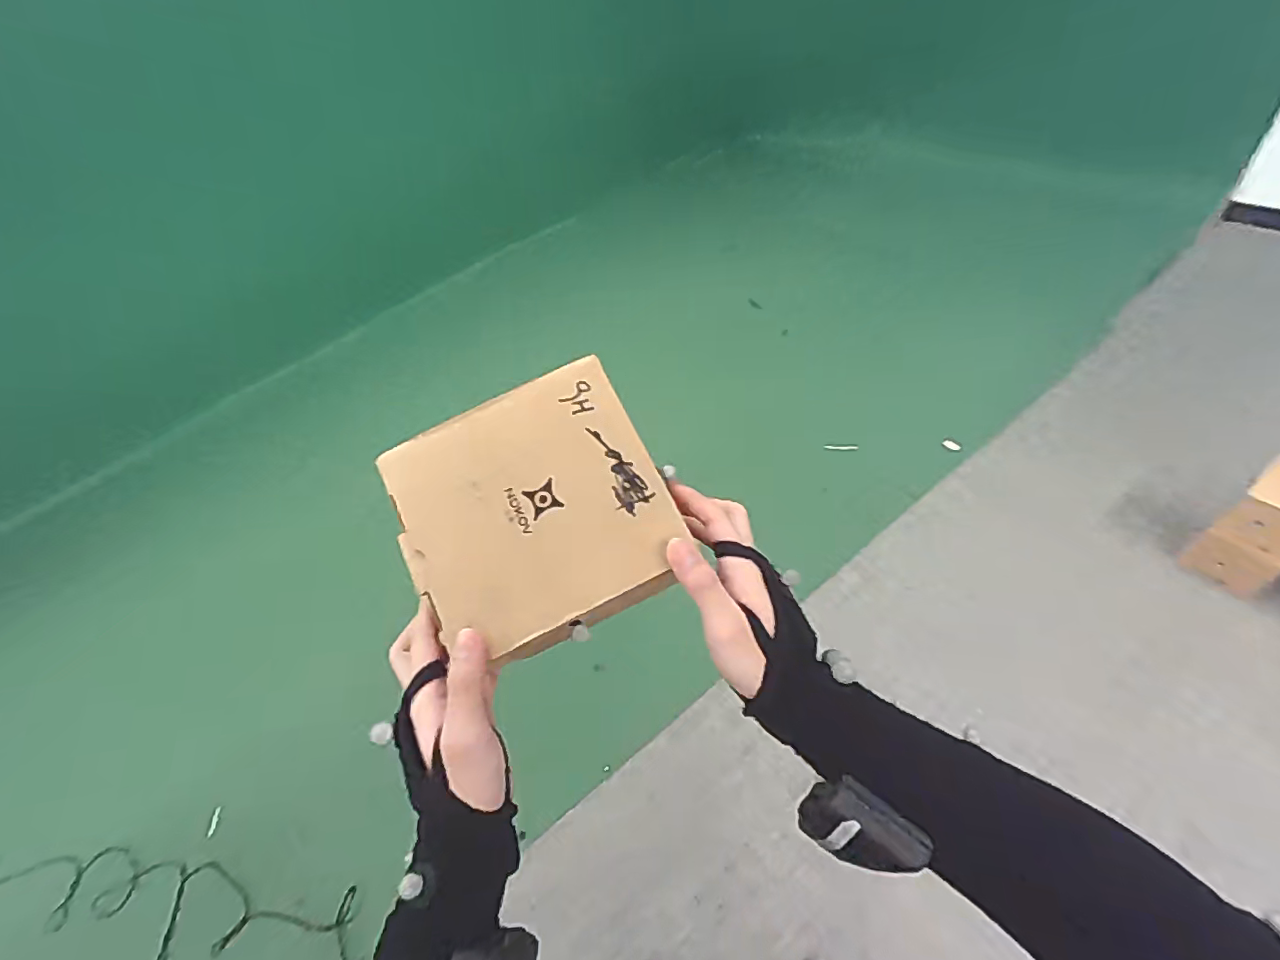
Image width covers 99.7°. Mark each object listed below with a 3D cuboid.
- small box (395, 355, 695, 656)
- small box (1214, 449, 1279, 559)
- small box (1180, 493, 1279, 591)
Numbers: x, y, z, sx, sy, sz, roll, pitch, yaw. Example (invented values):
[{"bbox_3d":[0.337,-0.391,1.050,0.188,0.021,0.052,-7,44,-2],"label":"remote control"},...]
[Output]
[{"bbox_3d":[-0.064,0.033,0.455,0.179,0.176,0.168,-25,75,-2],"label":"small box"},{"bbox_3d":[1.578,0.065,1.322,0.179,0.176,0.168,-37,51,-15],"label":"small box"},{"bbox_3d":[1.613,0.165,1.444,0.179,0.176,0.168,-35,51,-13],"label":"small box"}]
